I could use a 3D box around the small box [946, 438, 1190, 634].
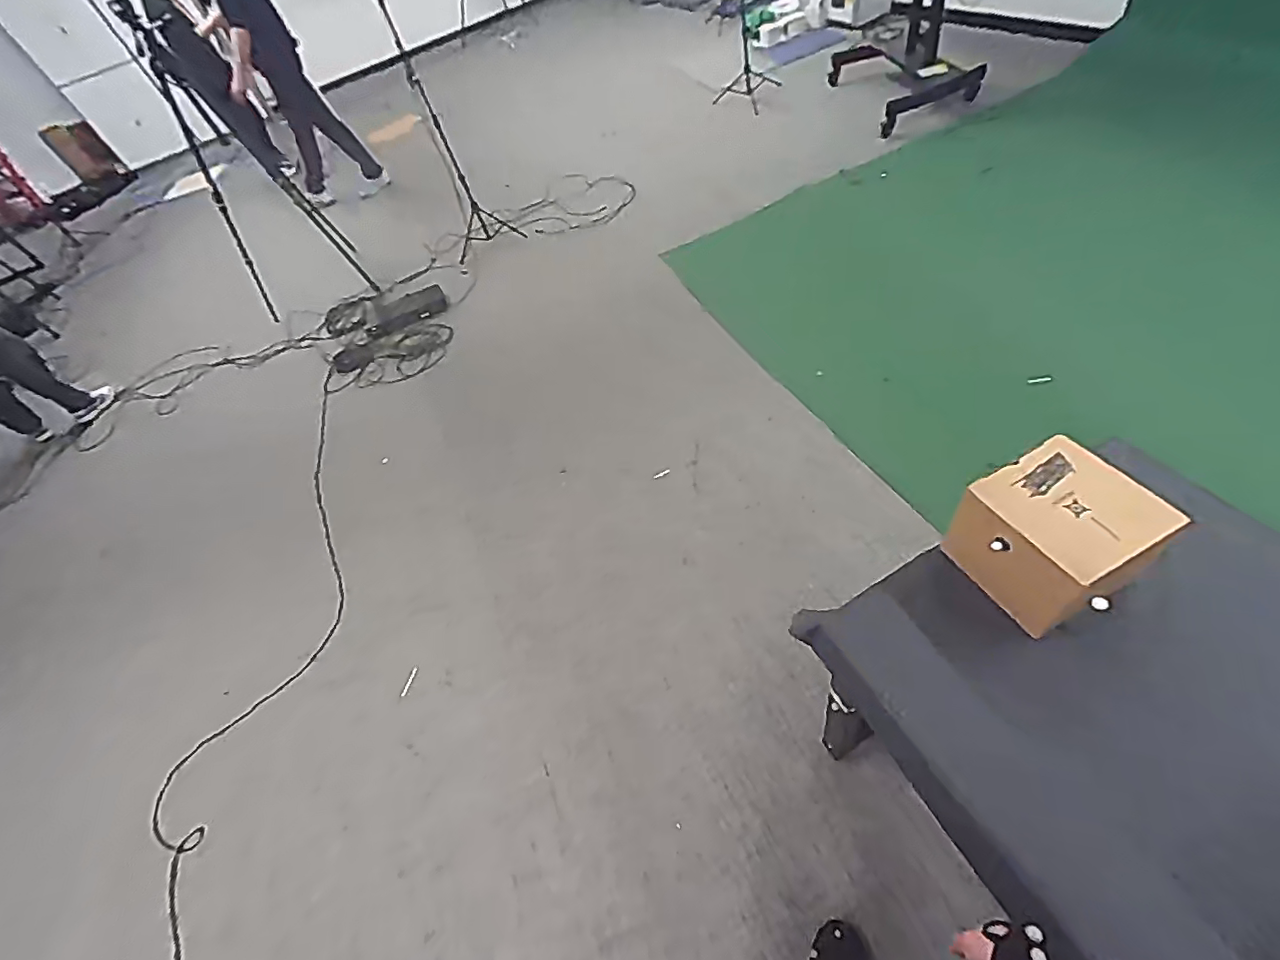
[{"bbox_3d":[0.566,0.081,0.750,0.168,0.176,0.179,-27,53,-7],"label":"small box"}]
